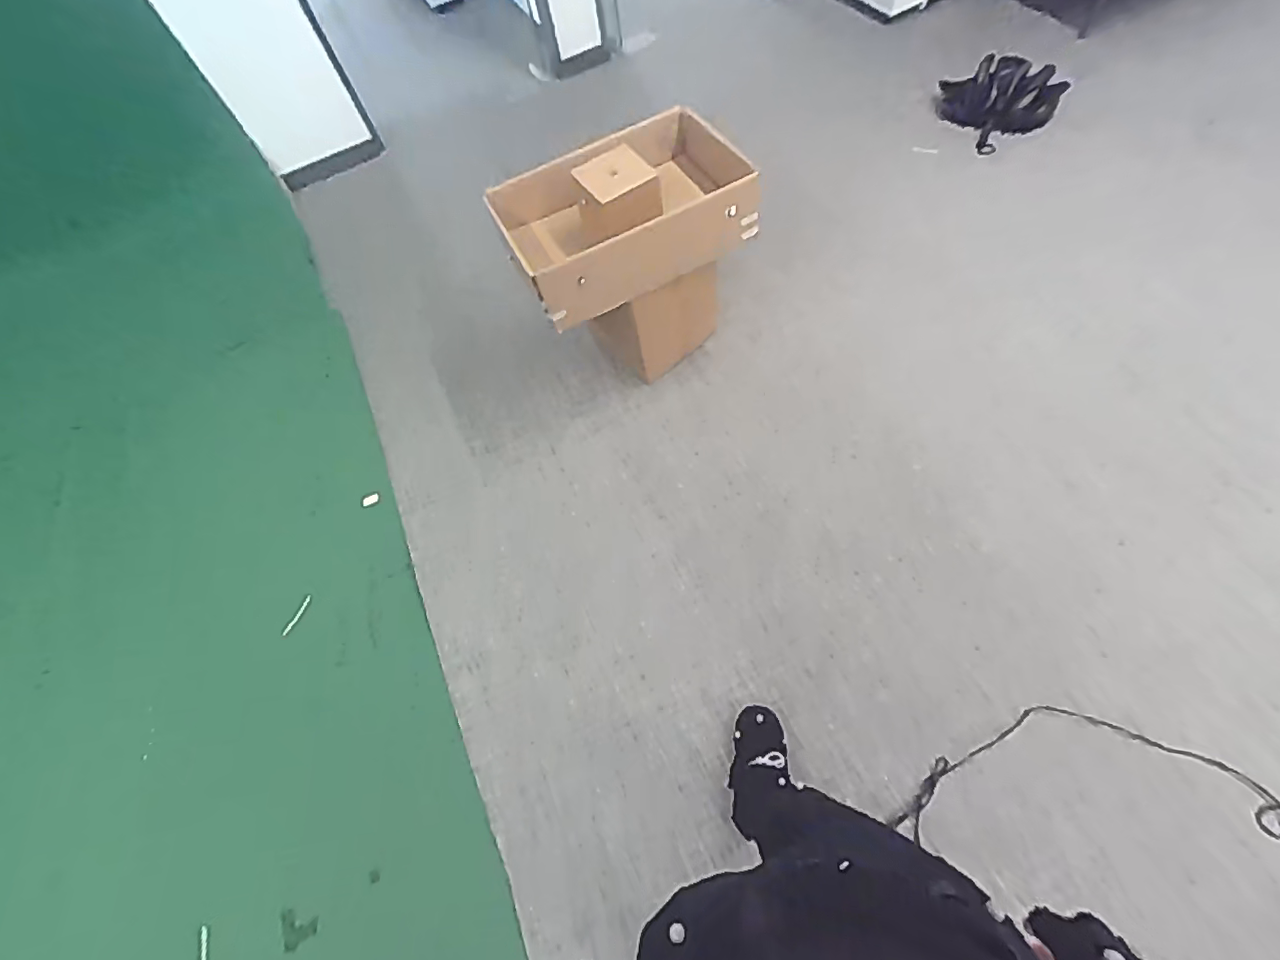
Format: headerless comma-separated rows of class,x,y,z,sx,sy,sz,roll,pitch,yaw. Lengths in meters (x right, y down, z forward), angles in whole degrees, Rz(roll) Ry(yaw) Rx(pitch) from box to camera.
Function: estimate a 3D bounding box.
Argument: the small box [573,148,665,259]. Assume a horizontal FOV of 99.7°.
small box,-0.051,-0.717,1.409,0.168,0.176,0.179,-31,62,-8
